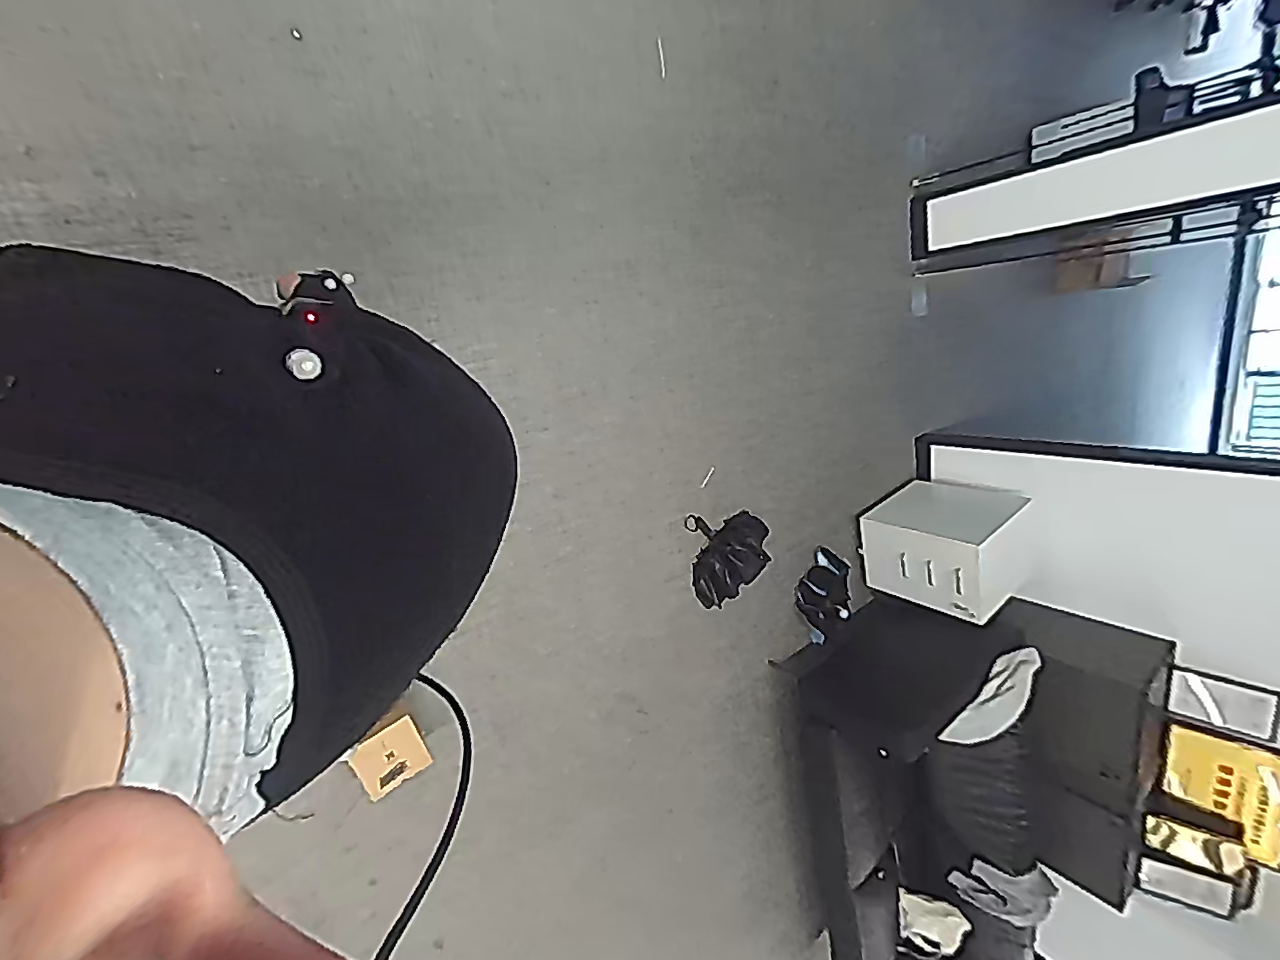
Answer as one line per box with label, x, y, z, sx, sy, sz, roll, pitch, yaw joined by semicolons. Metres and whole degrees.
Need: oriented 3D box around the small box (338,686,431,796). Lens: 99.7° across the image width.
small box;-0.703;0.707;1.486;0.168;0.176;0.179;-29;113;-29
